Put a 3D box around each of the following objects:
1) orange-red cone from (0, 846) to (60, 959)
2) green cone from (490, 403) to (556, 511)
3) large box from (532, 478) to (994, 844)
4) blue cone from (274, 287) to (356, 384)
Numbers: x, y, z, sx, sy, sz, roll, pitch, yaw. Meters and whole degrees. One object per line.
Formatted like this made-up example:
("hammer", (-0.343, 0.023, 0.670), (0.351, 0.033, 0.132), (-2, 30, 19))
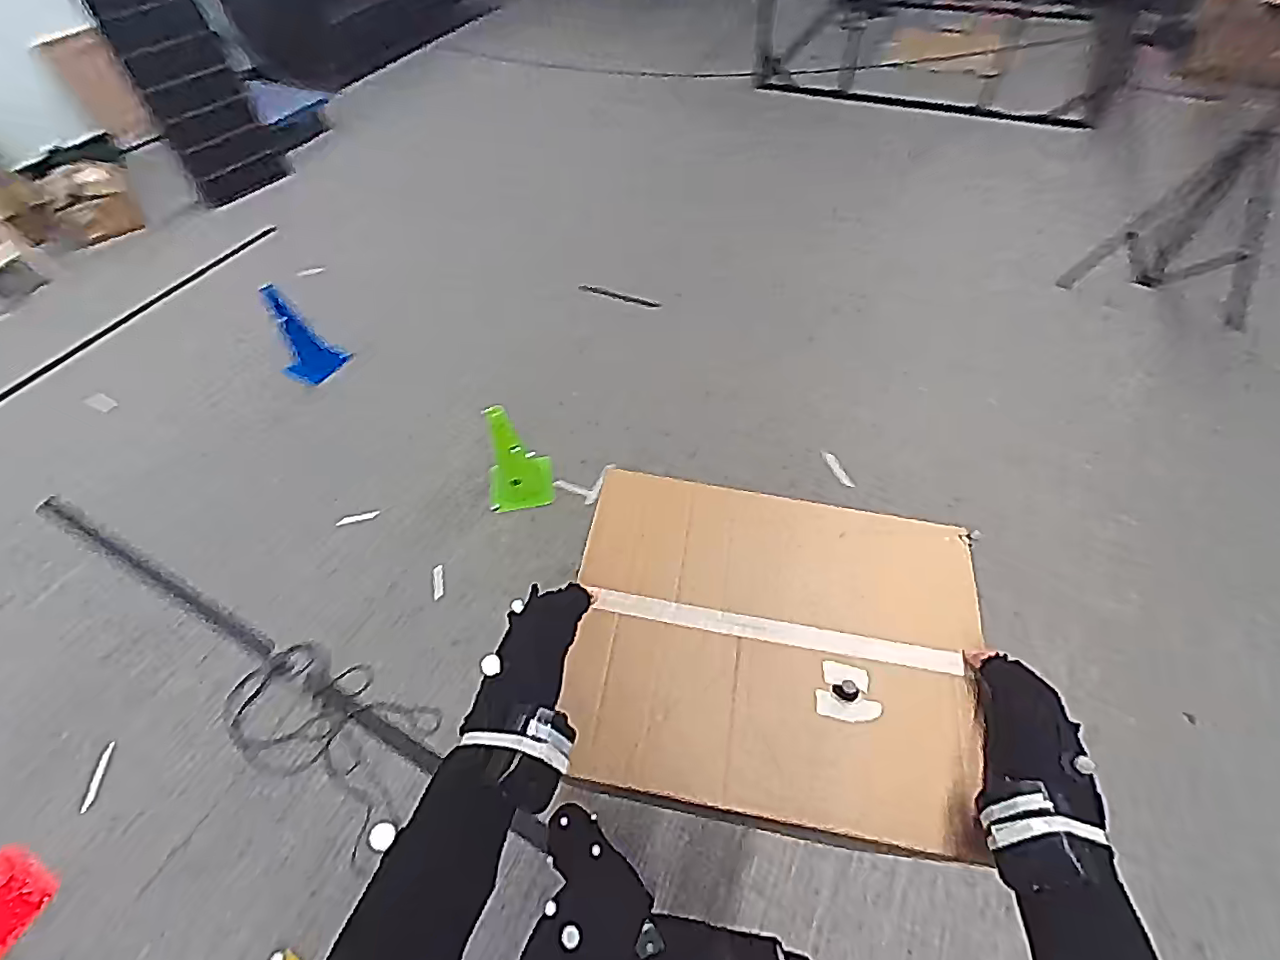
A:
("orange-red cone", (-1.428, 0.859, 1.058), (0.199, 0.360, 0.198), (20, 58, 16))
("green cone", (-0.394, -0.093, 1.680), (0.200, 0.368, 0.202), (-10, 52, -4))
("large box", (0.115, 0.229, 0.662), (0.408, 0.320, 0.320), (9, 58, 4))
("blue cone", (-1.318, -0.577, 2.120), (0.193, 0.380, 0.192), (24, 58, 20))
